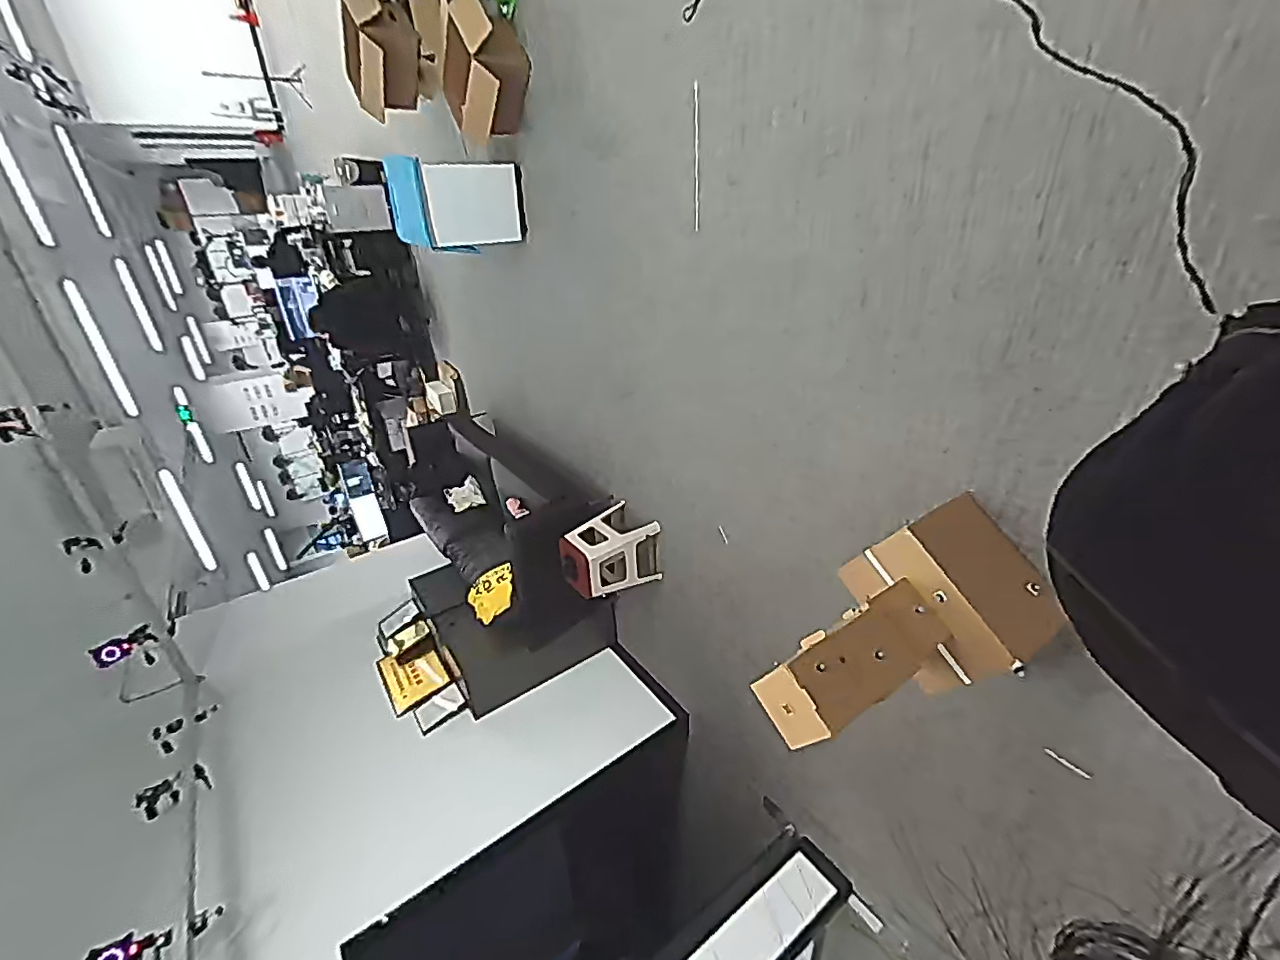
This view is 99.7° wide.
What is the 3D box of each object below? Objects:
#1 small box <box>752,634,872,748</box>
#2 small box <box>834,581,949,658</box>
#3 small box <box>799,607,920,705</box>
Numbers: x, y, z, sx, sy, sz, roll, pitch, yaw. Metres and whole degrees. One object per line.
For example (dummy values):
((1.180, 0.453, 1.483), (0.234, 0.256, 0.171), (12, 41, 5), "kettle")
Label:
((0.398, 0.480, 1.242), (0.168, 0.176, 0.179), (56, 148, 22), "small box")
((0.657, 0.384, 1.418), (0.179, 0.176, 0.168), (56, 148, 24), "small box")
((0.533, 0.432, 1.320), (0.179, 0.176, 0.168), (56, 148, 19), "small box")
